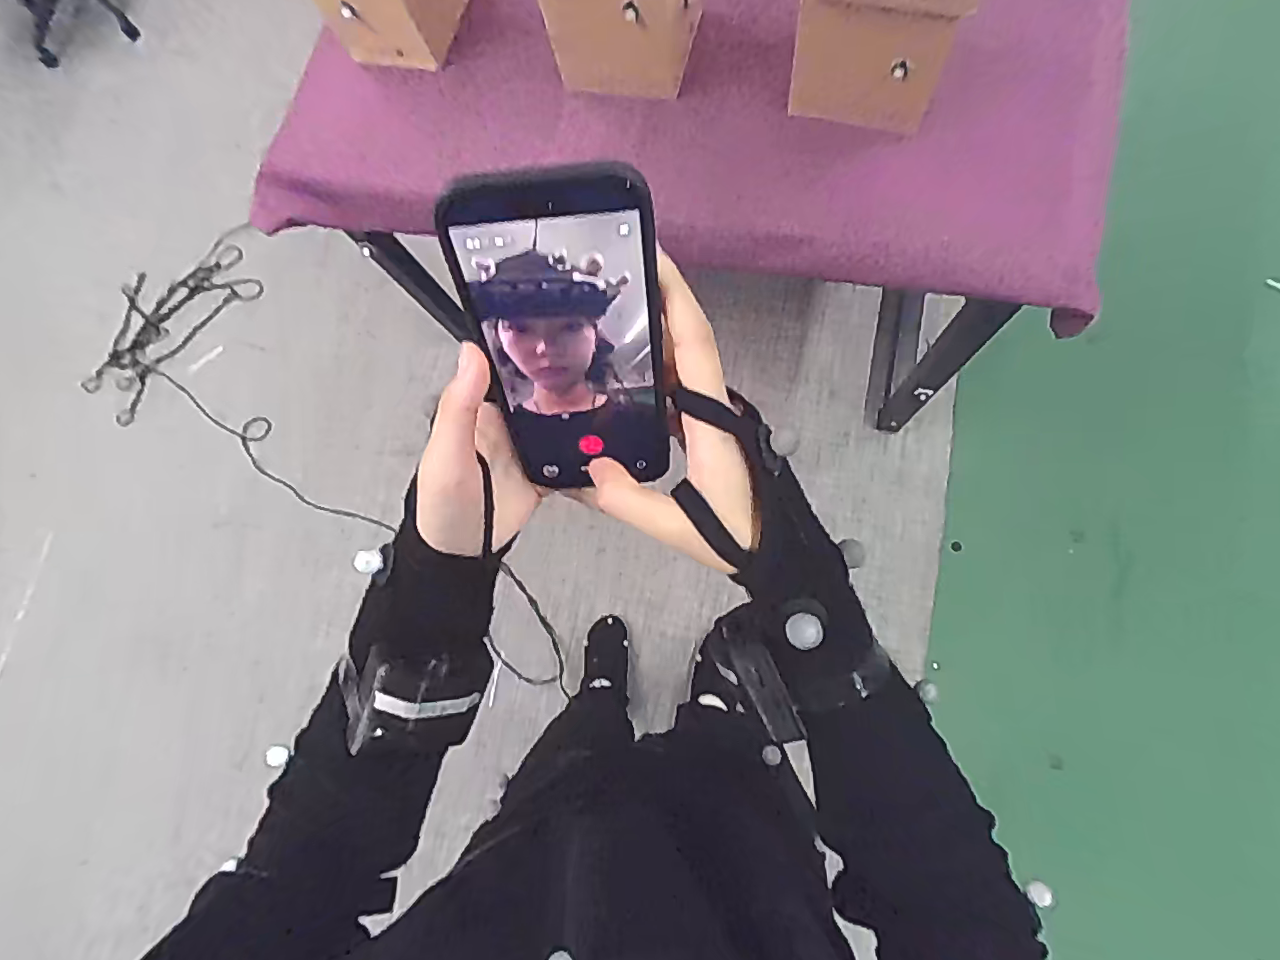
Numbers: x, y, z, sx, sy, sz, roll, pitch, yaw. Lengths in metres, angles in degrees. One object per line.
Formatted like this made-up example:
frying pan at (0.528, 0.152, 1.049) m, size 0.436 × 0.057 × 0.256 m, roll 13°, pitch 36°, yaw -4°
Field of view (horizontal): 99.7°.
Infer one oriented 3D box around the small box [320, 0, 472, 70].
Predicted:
small box at (-0.383, -0.777, 0.831) m, size 0.168 × 0.176 × 0.179 m, roll 15°, pitch 80°, yaw 12°

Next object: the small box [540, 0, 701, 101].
small box at (-0.018, -0.665, 0.747) m, size 0.179 × 0.176 × 0.168 m, roll 14°, pitch 80°, yaw 12°

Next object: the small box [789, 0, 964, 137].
small box at (0.302, -0.572, 0.676) m, size 0.179 × 0.176 × 0.168 m, roll 20°, pitch 81°, yaw 14°
